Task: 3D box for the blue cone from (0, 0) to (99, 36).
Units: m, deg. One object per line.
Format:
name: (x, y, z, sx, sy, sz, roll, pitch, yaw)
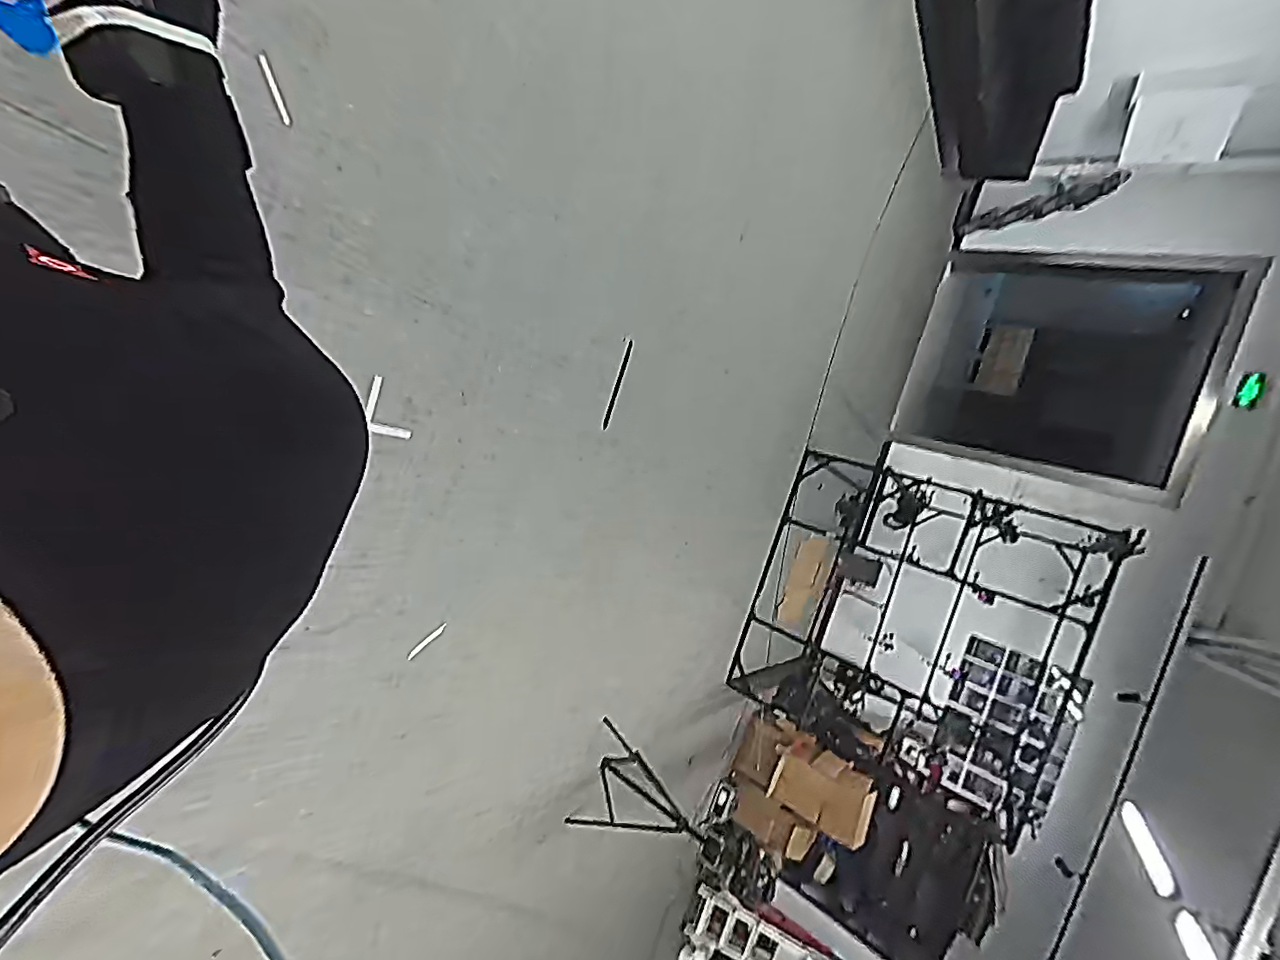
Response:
blue cone: (-0.878, -0.804, 0.769, 0.192, 0.380, 0.193, -59, 144, -16)
